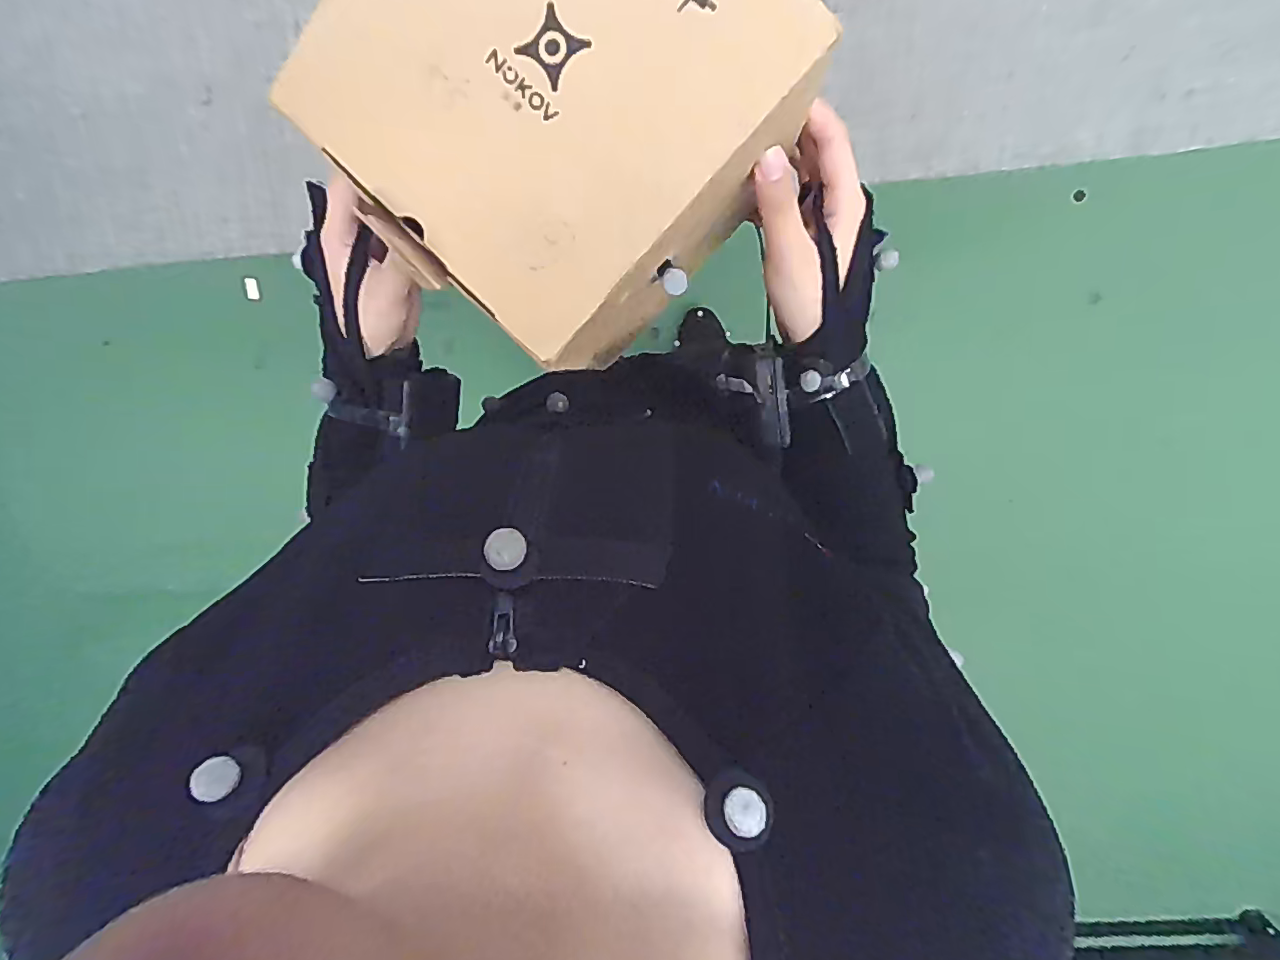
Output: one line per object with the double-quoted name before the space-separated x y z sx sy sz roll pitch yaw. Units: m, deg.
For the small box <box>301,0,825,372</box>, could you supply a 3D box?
"small box" -0.029 -0.179 0.307 0.168 0.176 0.179 44 103 -3
